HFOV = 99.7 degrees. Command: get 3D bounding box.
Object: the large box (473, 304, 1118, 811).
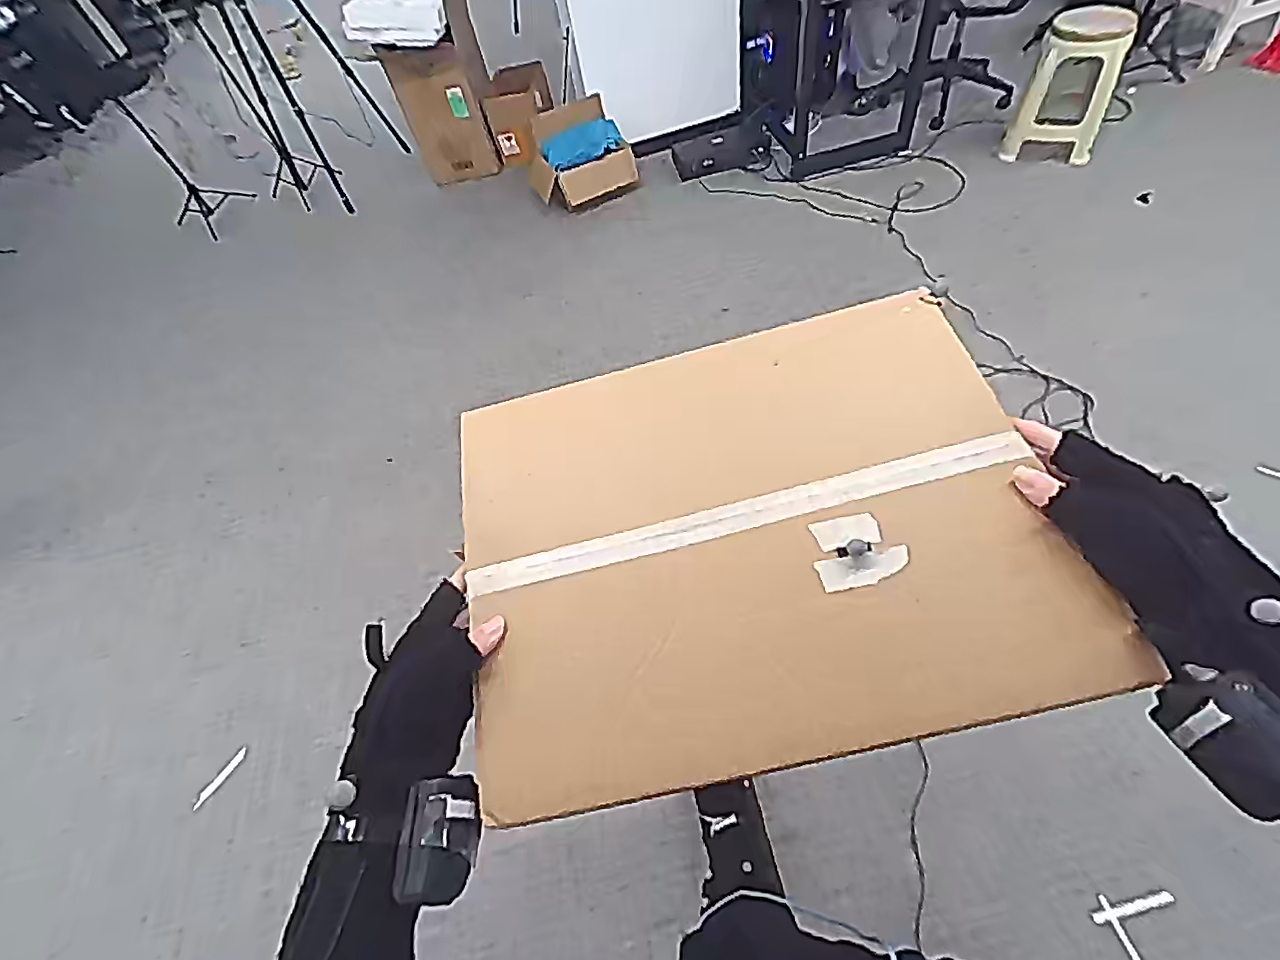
[{"bbox_3d":[0.094,0.096,0.536,0.408,0.320,0.320,-15,63,3],"label":"large box"}]
